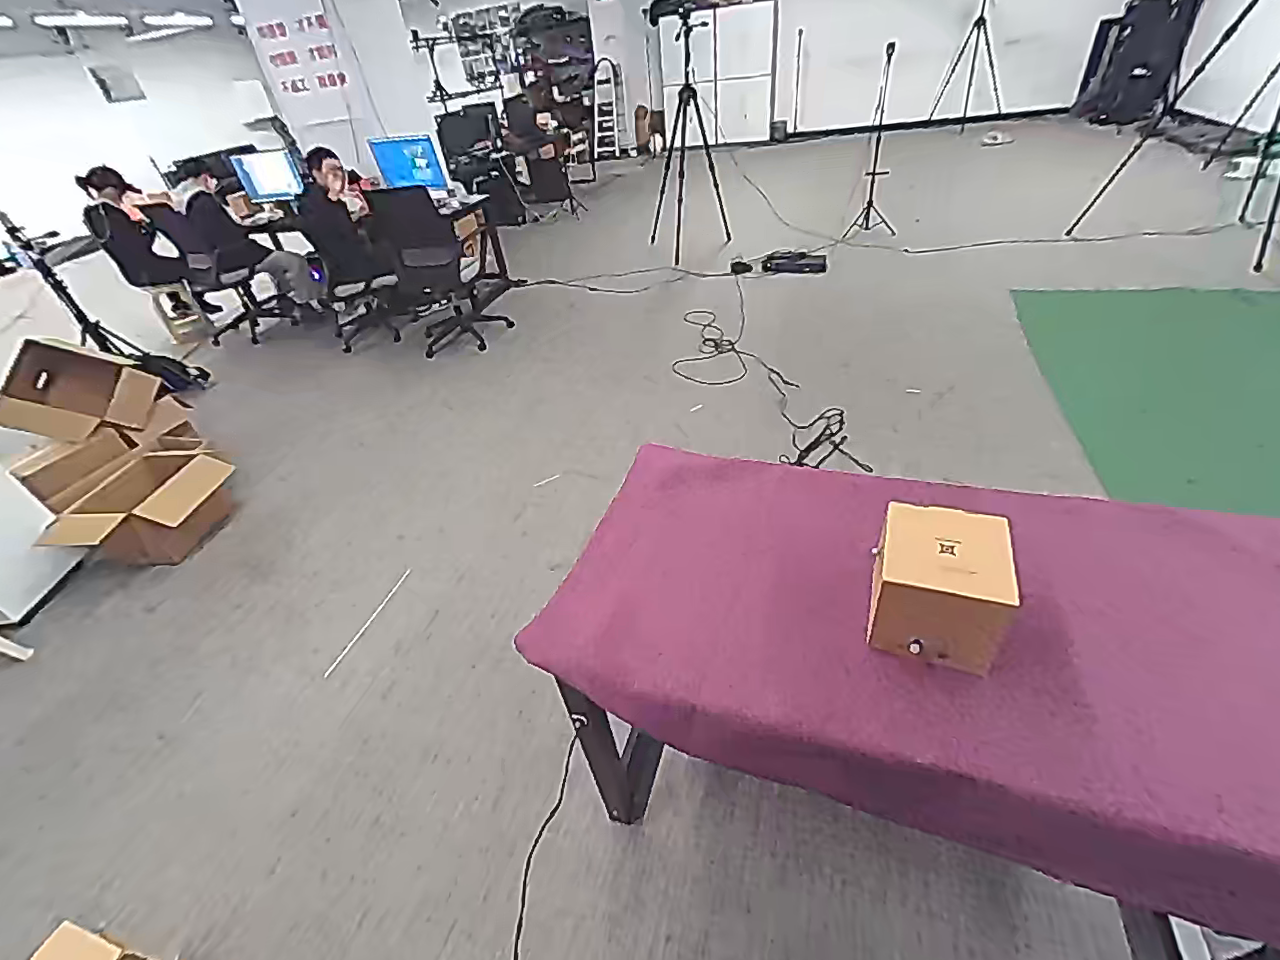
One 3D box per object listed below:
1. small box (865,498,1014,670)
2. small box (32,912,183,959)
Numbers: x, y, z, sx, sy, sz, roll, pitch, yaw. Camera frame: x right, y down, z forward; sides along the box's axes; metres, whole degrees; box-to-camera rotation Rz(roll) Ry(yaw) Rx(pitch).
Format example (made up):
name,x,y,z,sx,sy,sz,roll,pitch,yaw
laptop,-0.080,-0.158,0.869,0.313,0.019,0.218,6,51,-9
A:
name,x,y,z,sx,sy,sz,roll,pitch,yaw
small box,0.452,0.156,0.836,0.168,0.176,0.179,9,42,22
small box,-1.029,0.956,1.012,0.179,0.176,0.168,6,41,18
